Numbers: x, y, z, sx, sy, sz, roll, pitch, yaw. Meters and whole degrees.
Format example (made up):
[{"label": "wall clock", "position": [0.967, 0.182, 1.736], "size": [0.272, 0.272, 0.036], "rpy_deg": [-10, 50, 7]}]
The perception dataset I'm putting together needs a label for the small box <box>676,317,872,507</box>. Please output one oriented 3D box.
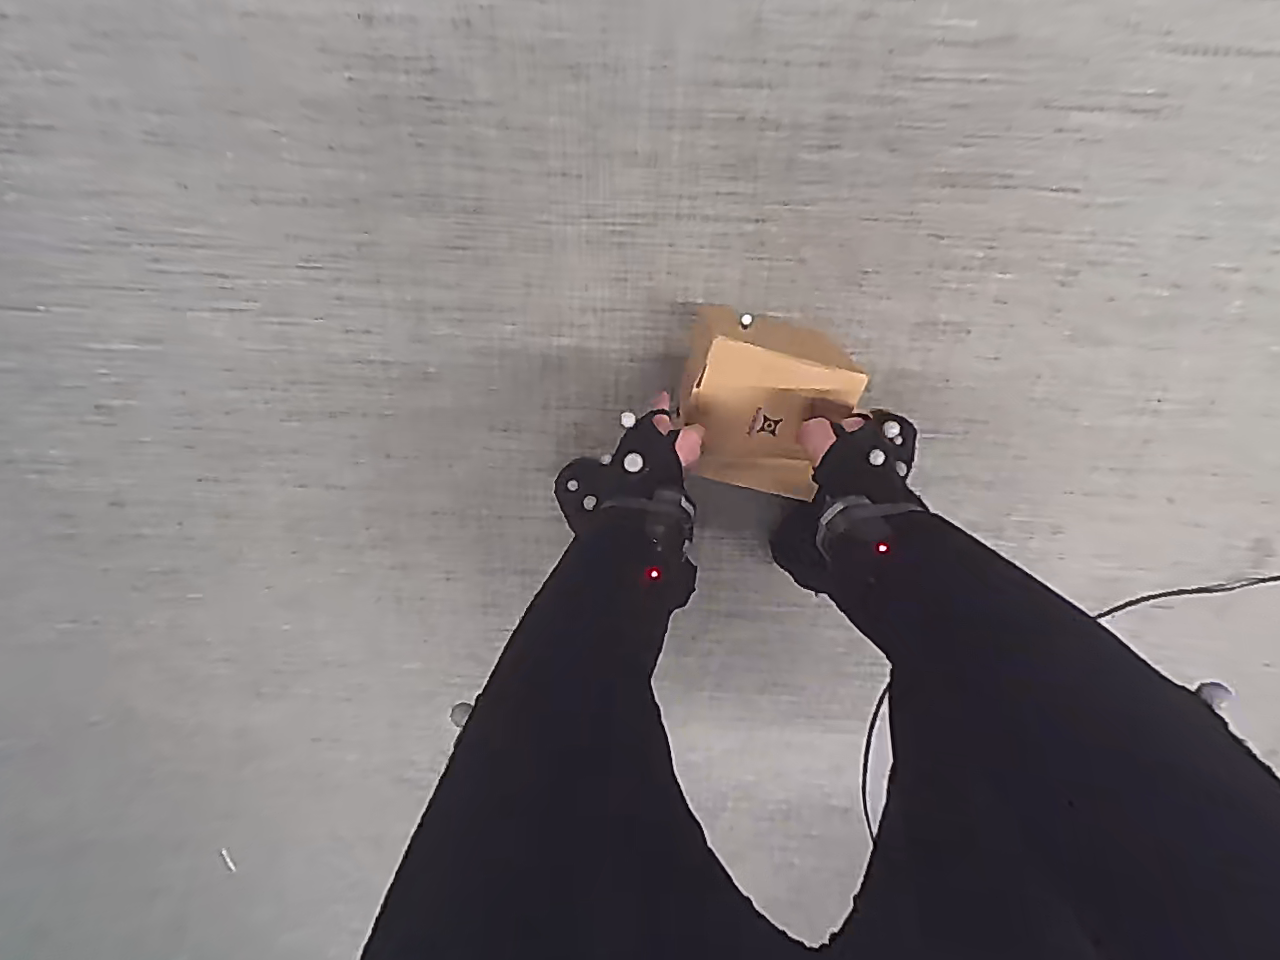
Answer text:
[{"label": "small box", "position": [0.149, -0.094, 0.681], "size": [0.179, 0.176, 0.168], "rpy_deg": [13, 120, -6]}]
